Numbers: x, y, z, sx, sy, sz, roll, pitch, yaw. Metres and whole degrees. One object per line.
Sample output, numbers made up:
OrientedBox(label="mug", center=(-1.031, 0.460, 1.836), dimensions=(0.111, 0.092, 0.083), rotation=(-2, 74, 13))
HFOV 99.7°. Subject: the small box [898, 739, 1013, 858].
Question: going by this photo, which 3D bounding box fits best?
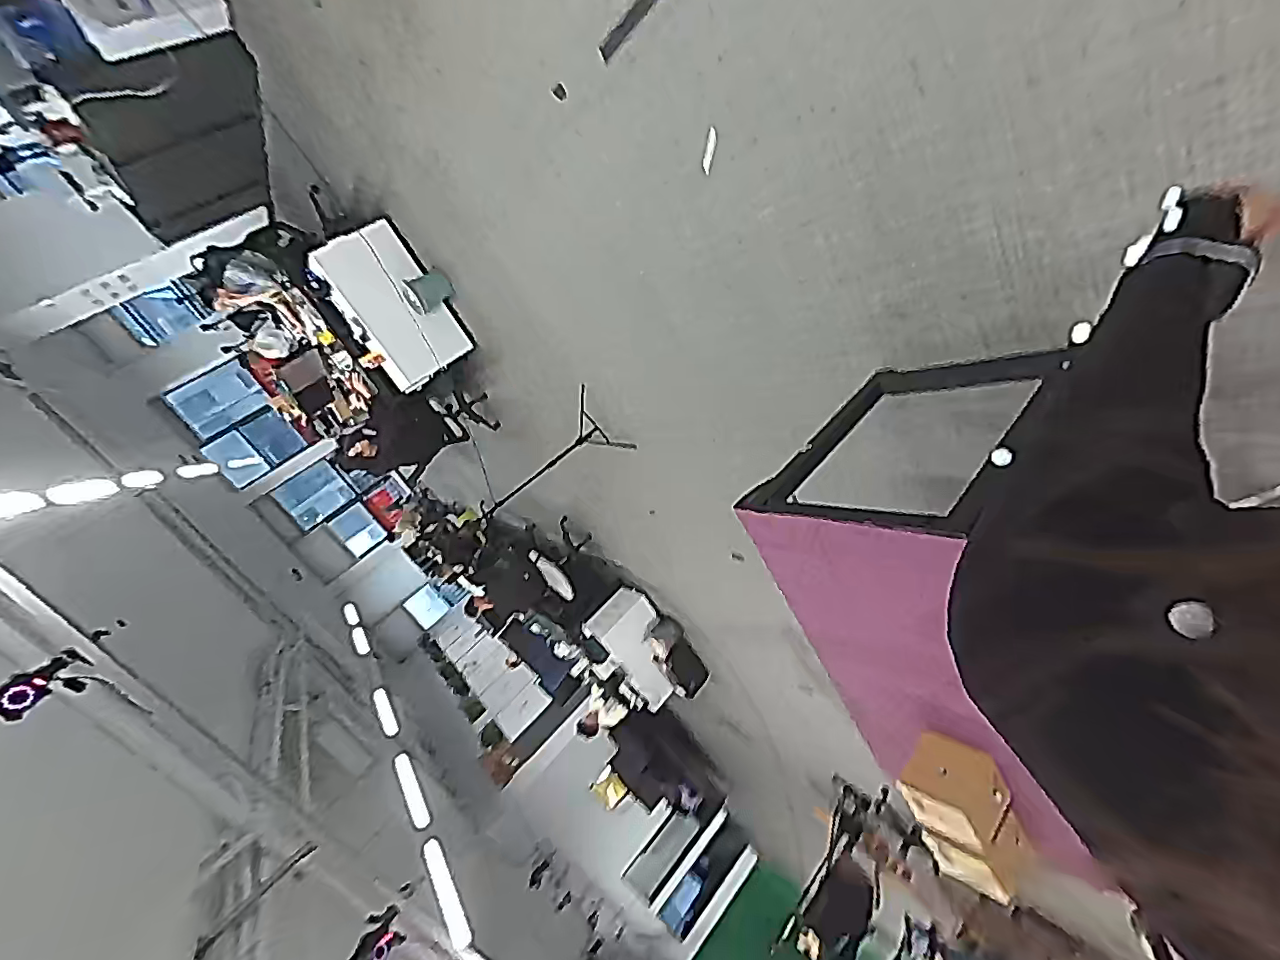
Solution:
OrientedBox(label="small box", center=(0.812, 0.806, 1.391), dimensions=(0.168, 0.176, 0.179), rotation=(56, 154, -17))
